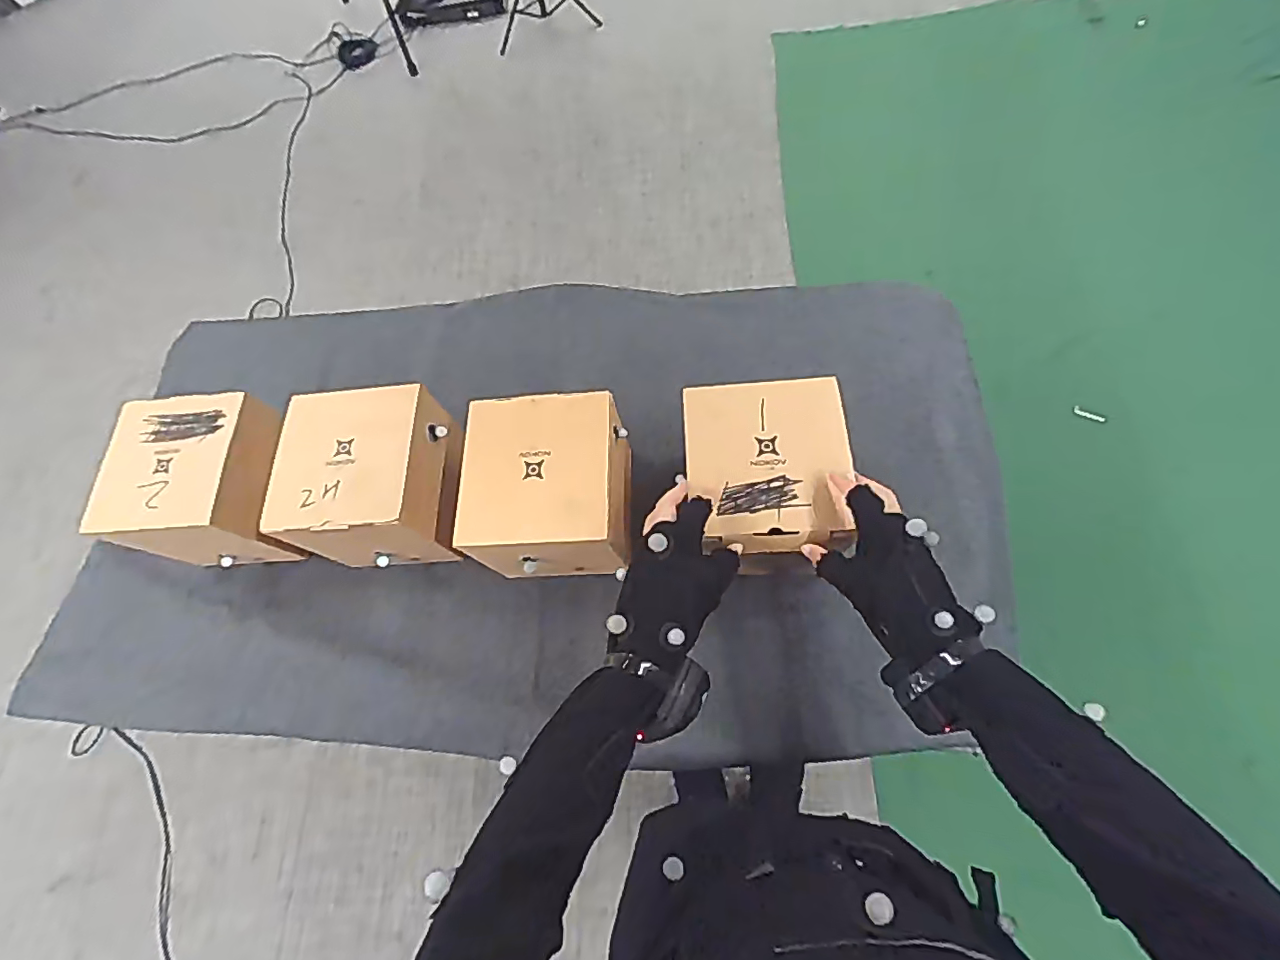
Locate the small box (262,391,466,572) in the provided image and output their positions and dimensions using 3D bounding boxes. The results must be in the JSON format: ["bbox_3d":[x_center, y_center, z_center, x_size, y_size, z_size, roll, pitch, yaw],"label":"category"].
[{"bbox_3d":[-0.325,0.009,0.688,0.168,0.176,0.179,-4,67,6],"label":"small box"}]

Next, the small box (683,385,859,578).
[{"bbox_3d":[0.138,0.014,0.624,0.168,0.176,0.179,-3,66,6],"label":"small box"}]

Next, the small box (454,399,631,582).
[{"bbox_3d":[-0.103,0.024,0.655,0.168,0.176,0.179,-3,66,6],"label":"small box"}]
